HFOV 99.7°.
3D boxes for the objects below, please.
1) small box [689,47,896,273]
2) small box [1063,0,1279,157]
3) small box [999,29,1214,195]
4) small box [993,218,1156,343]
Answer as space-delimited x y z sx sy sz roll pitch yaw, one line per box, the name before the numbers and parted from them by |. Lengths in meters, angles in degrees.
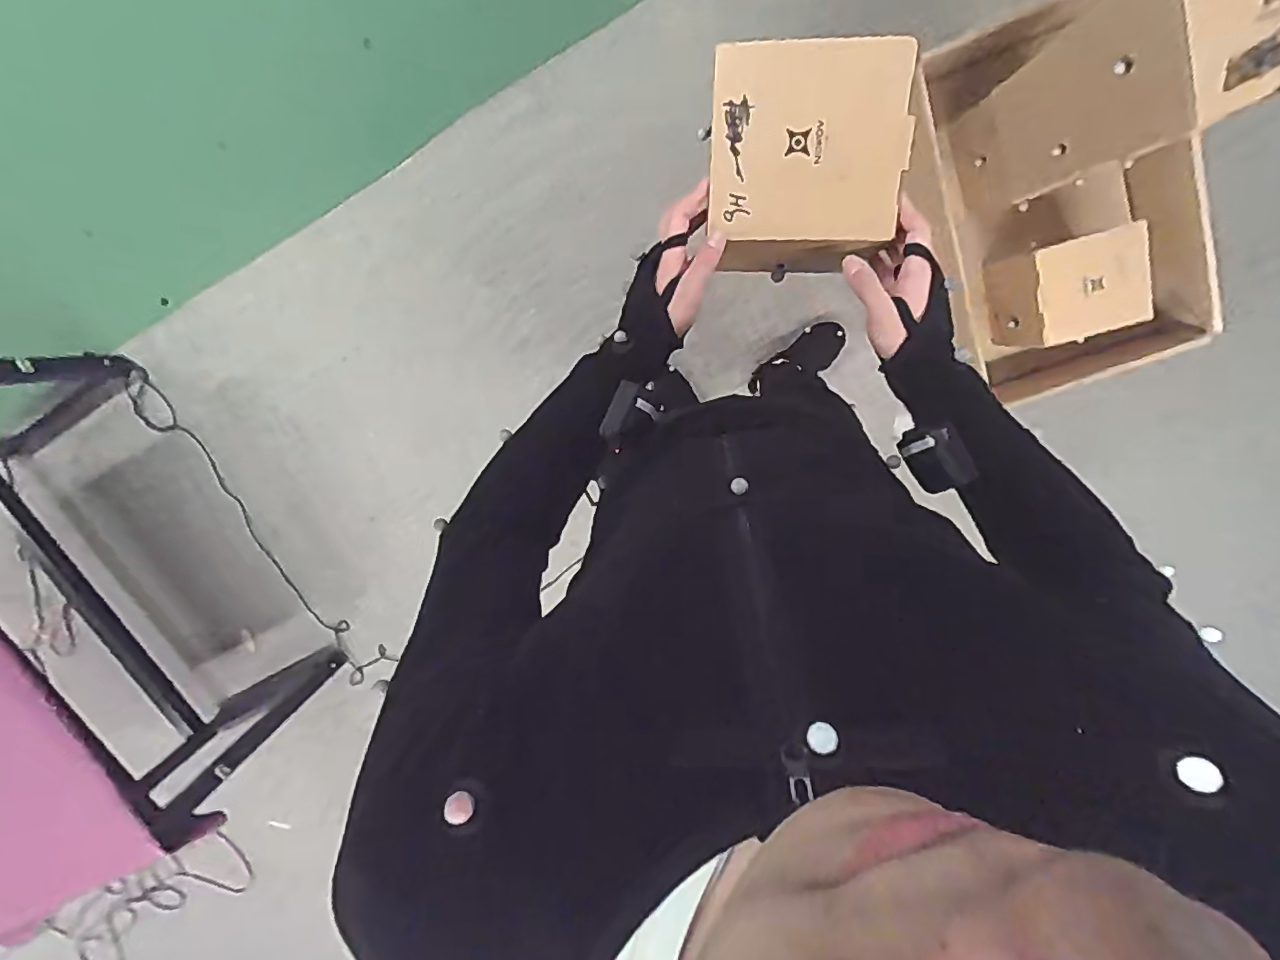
small box | 0.144 -0.321 0.575 0.179 0.176 0.168 2 102 6
small box | 0.634 -0.500 0.618 0.168 0.176 0.179 -20 102 10
small box | 0.652 -0.543 0.776 0.168 0.176 0.179 -18 104 9
small box | 0.774 -0.352 0.984 0.179 0.176 0.168 -14 104 9
